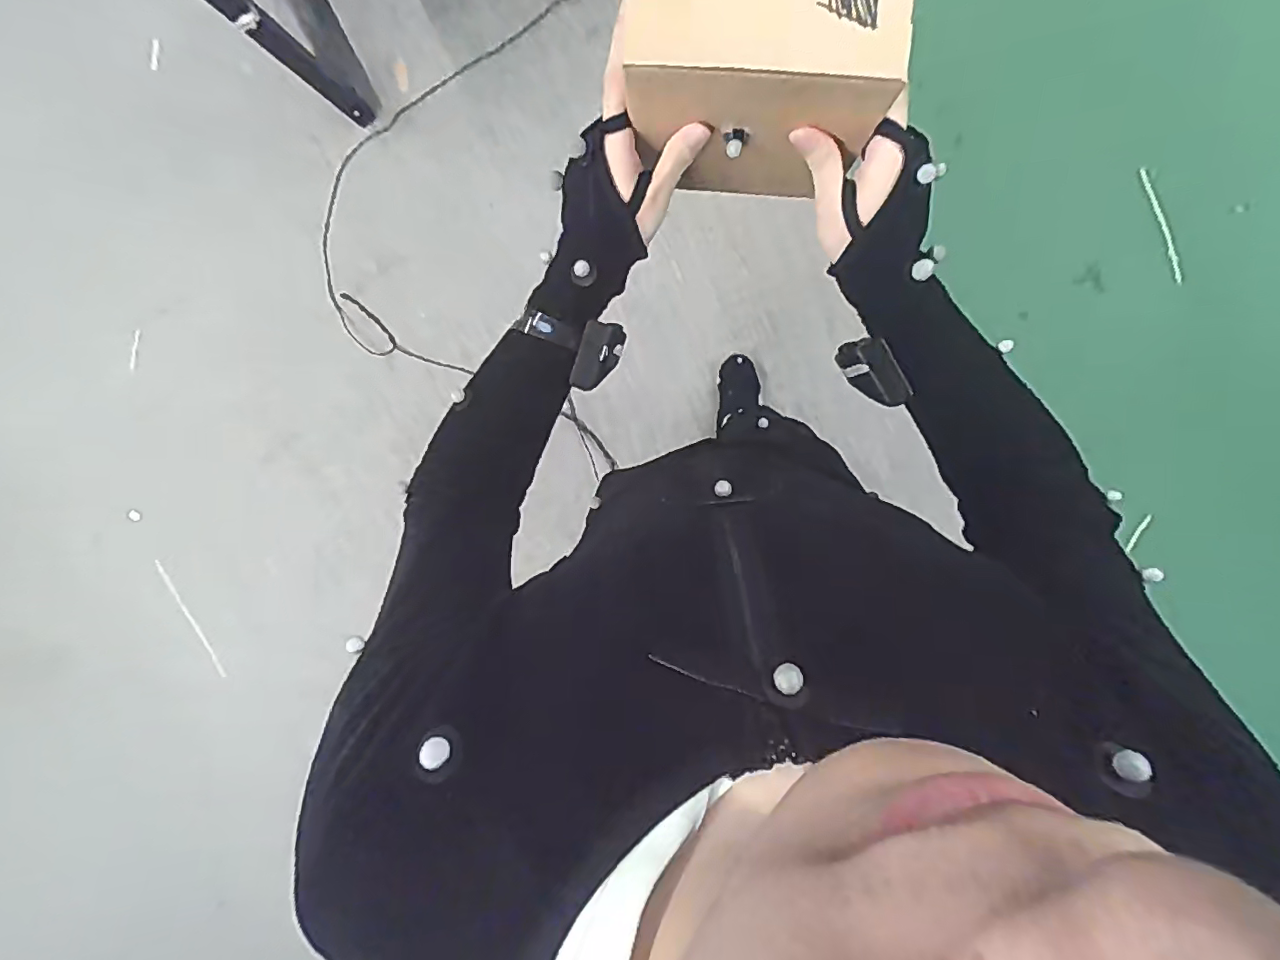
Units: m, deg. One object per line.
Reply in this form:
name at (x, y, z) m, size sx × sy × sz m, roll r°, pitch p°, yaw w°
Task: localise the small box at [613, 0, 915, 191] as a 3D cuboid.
small box at (0.084, -0.333, 0.394) m, size 0.179 × 0.176 × 0.168 m, roll 6°, pitch 94°, yaw 5°
